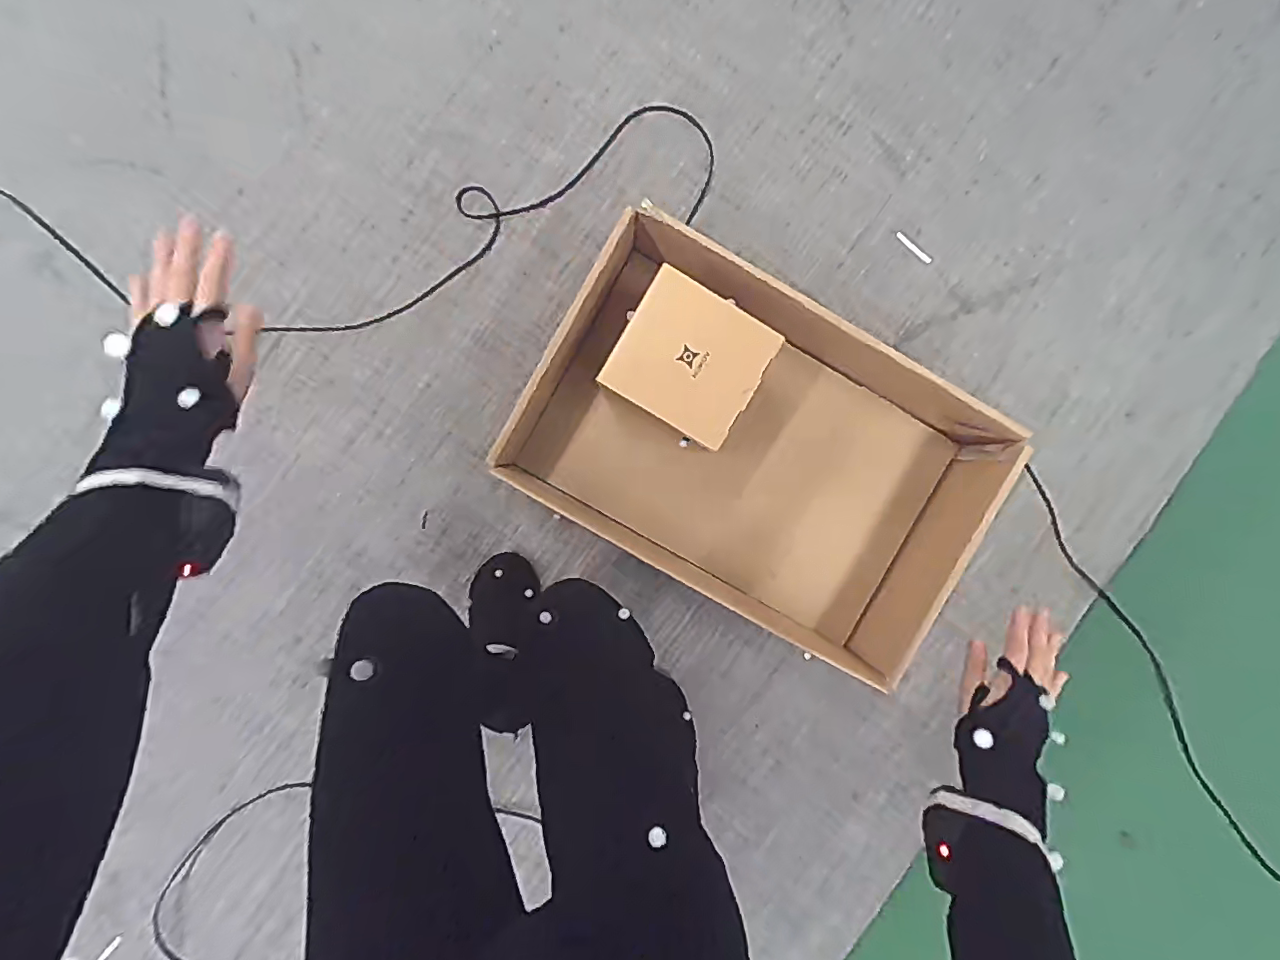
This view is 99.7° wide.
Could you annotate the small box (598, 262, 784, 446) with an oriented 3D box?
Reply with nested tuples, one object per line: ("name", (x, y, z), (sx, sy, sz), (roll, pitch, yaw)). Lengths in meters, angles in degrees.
("small box", (0.059, -0.156, 0.735), (0.179, 0.176, 0.168), (30, 93, -5))
